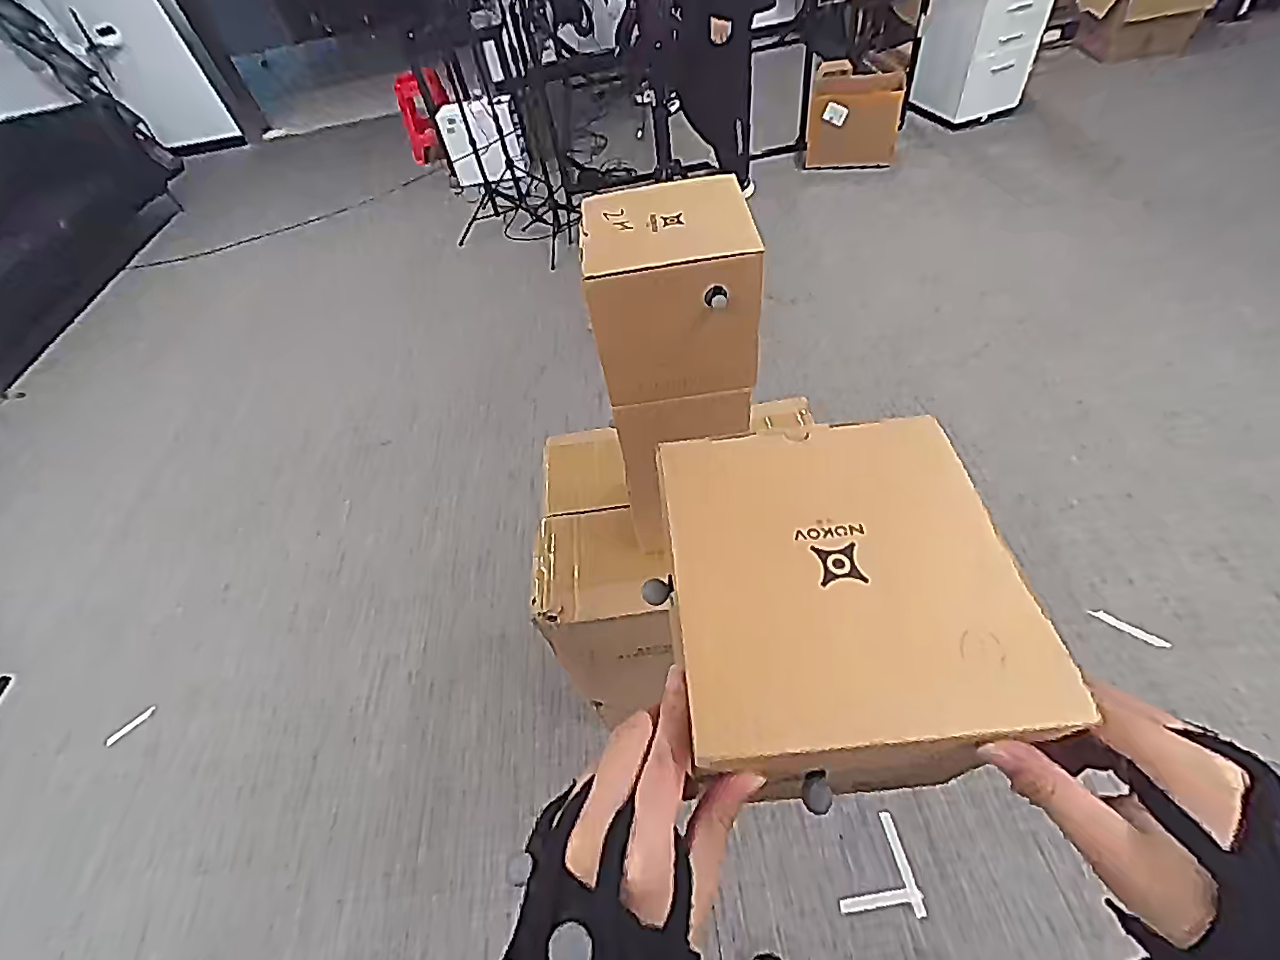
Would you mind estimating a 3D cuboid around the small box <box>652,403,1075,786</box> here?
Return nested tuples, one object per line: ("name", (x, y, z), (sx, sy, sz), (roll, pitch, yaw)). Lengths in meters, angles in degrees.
("small box", (0.102, 0.080, 0.337), (0.168, 0.176, 0.179), (-7, 52, 1))

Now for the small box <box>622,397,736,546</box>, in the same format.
("small box", (0.072, -0.008, 0.872), (0.179, 0.176, 0.168), (-7, 51, 4))

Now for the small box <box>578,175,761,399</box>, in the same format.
("small box", (0.033, -0.214, 0.618), (0.179, 0.176, 0.168), (-8, 51, 4))
